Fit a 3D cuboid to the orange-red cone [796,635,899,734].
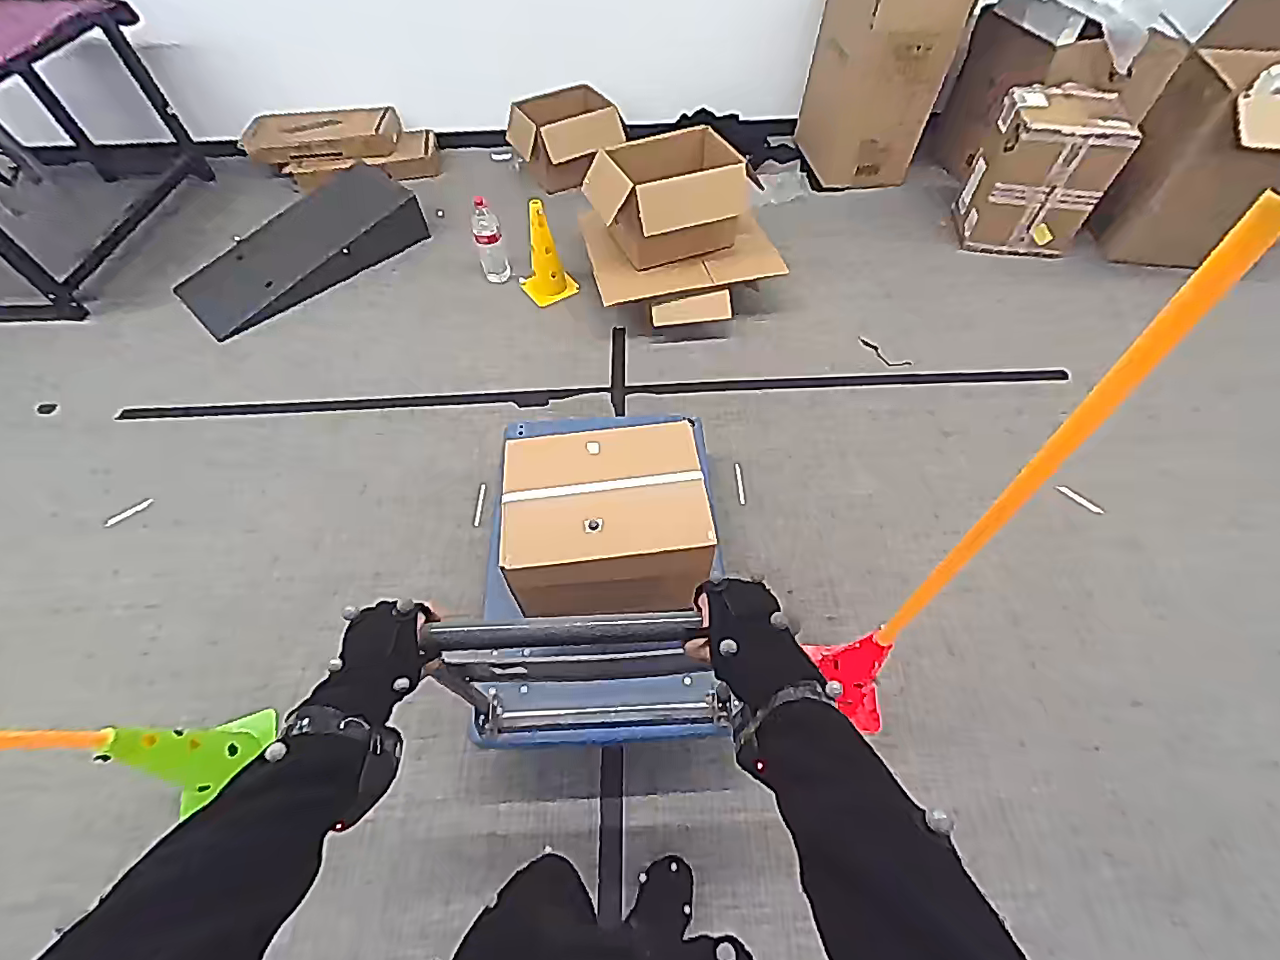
[{"bbox_3d":[0.480,0.411,1.175,0.199,0.360,0.198,4,56,3],"label":"orange-red cone"}]
